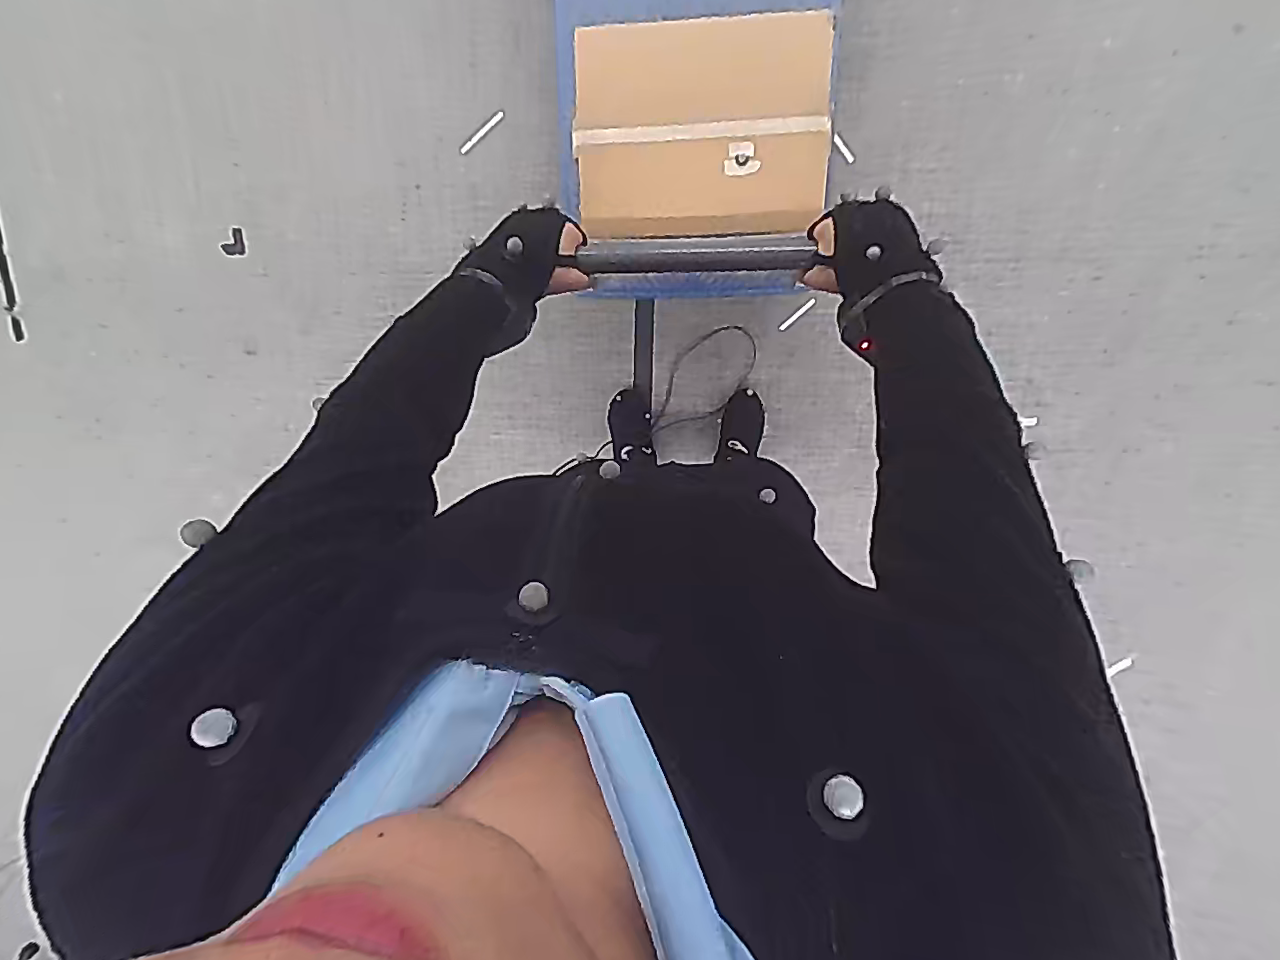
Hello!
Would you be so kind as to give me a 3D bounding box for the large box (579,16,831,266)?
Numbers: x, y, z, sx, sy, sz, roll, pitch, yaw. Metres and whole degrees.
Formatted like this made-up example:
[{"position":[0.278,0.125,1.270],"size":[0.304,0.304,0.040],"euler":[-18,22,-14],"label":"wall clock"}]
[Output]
[{"position":[0.113,-0.602,1.031],"size":[0.408,0.320,0.320],"euler":[0,104,5],"label":"large box"}]
